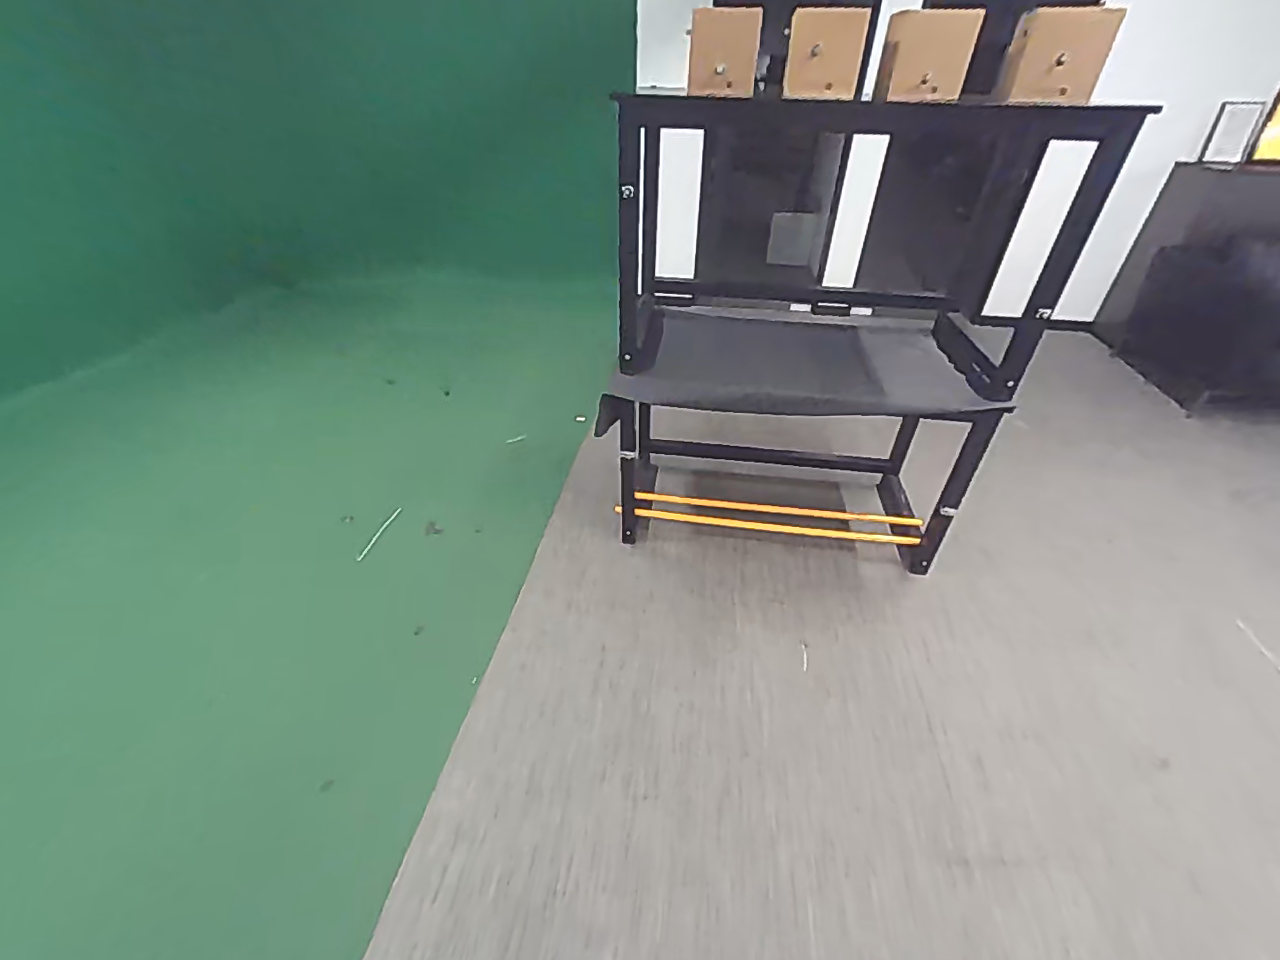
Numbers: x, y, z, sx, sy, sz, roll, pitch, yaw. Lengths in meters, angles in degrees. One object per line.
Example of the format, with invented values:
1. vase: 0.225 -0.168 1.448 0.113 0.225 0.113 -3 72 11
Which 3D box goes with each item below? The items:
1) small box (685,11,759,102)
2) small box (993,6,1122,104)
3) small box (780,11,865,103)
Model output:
1. small box: 0.201 -1.071 1.373 0.168 0.176 0.179 3 38 3
2. small box: 0.946 -0.971 1.245 0.168 0.176 0.179 11 38 14
3. small box: 0.441 -1.034 1.330 0.168 0.176 0.179 6 37 8
